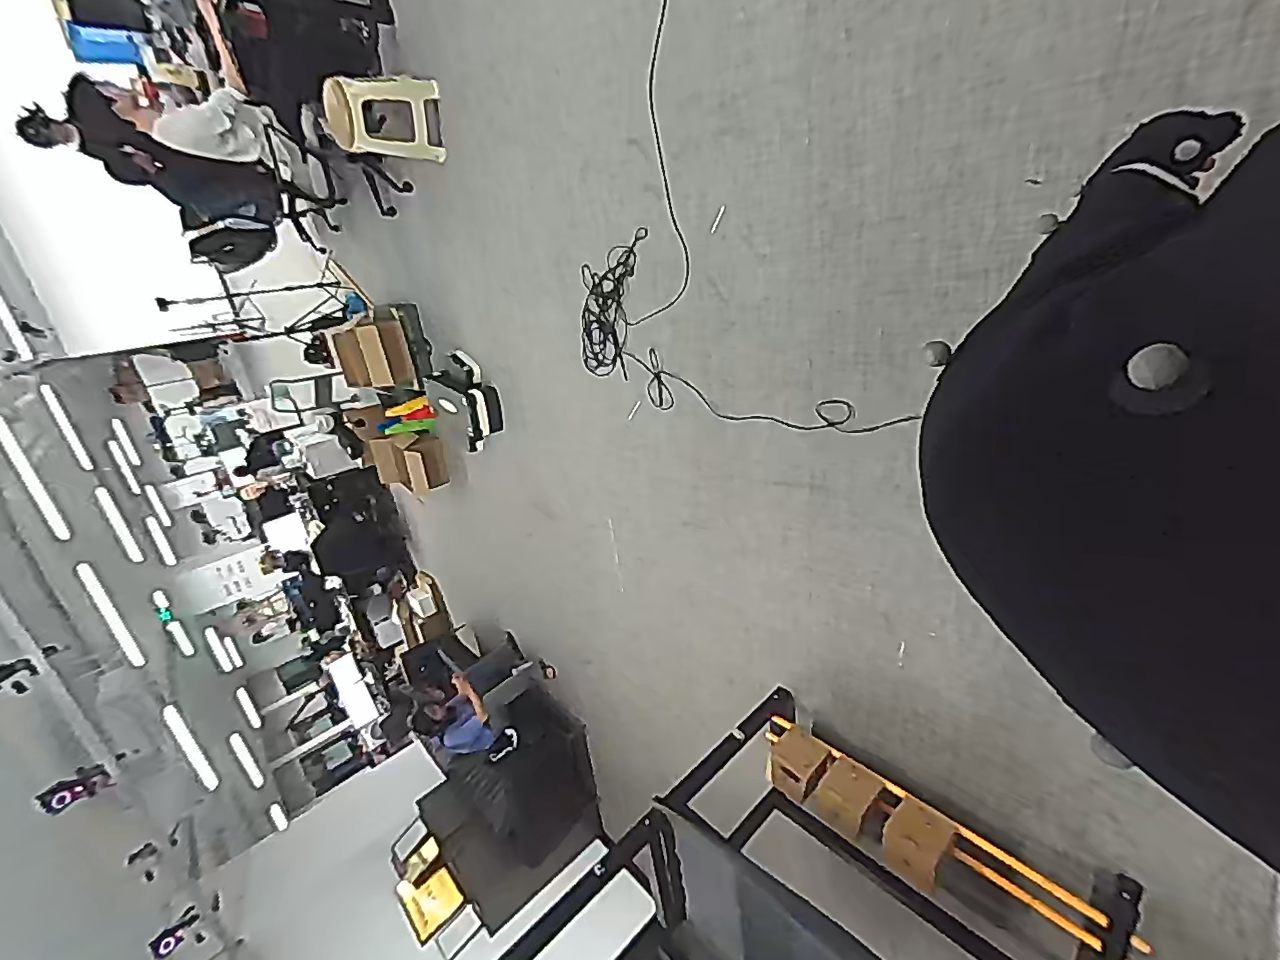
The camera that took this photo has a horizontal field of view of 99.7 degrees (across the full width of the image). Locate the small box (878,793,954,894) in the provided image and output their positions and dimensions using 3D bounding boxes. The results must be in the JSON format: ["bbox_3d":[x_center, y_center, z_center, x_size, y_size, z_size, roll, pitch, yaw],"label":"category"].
[{"bbox_3d":[0.910,1.190,1.779,0.168,0.176,0.179,19,122,46],"label":"small box"}]
